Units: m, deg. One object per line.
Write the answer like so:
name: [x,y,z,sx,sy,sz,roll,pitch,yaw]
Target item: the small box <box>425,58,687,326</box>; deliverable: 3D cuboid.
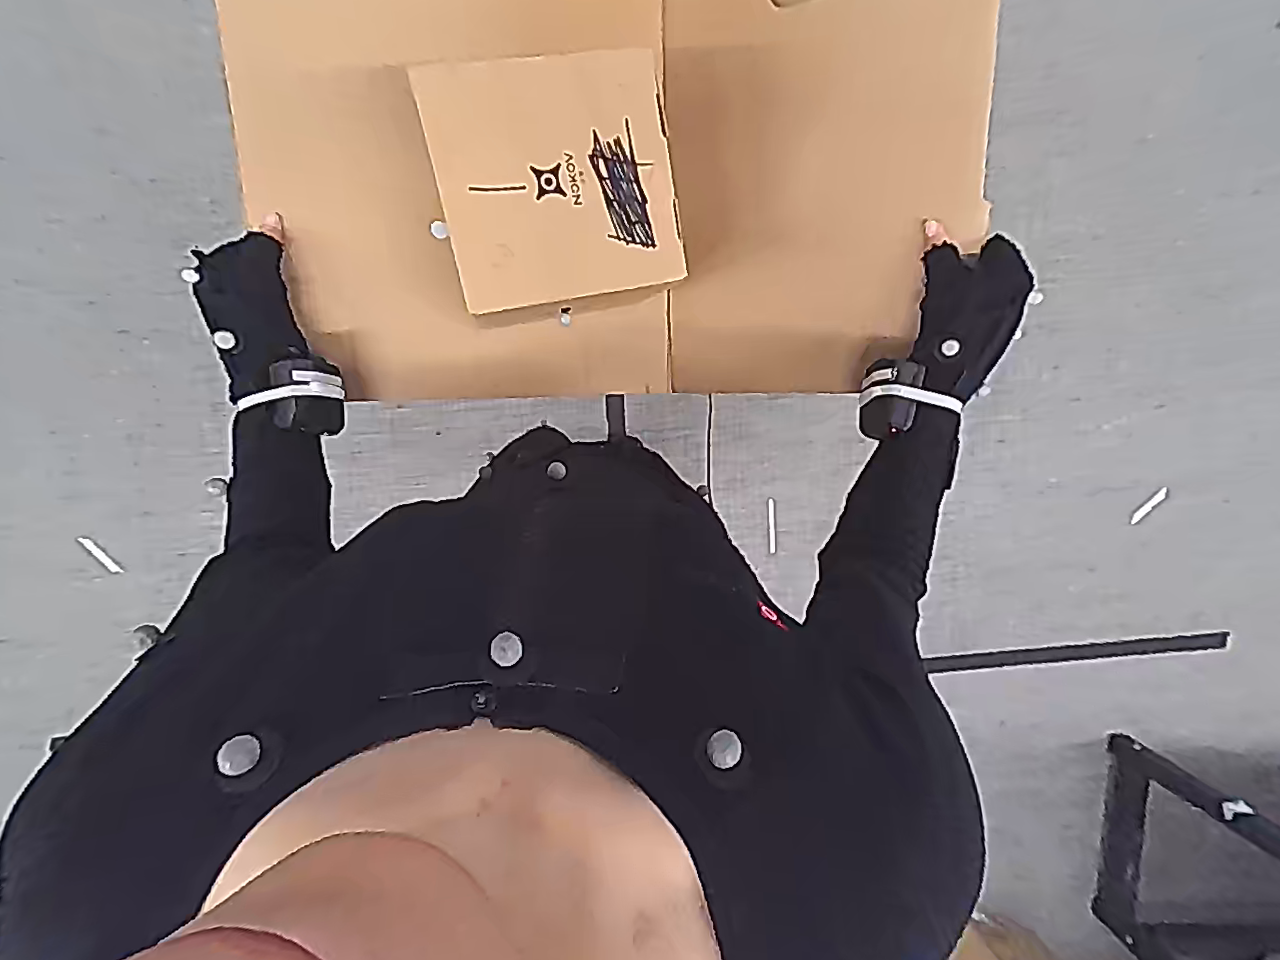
small box: [-0.075,-0.239,0.486,0.179,0.176,0.168,-13,104,-11]
